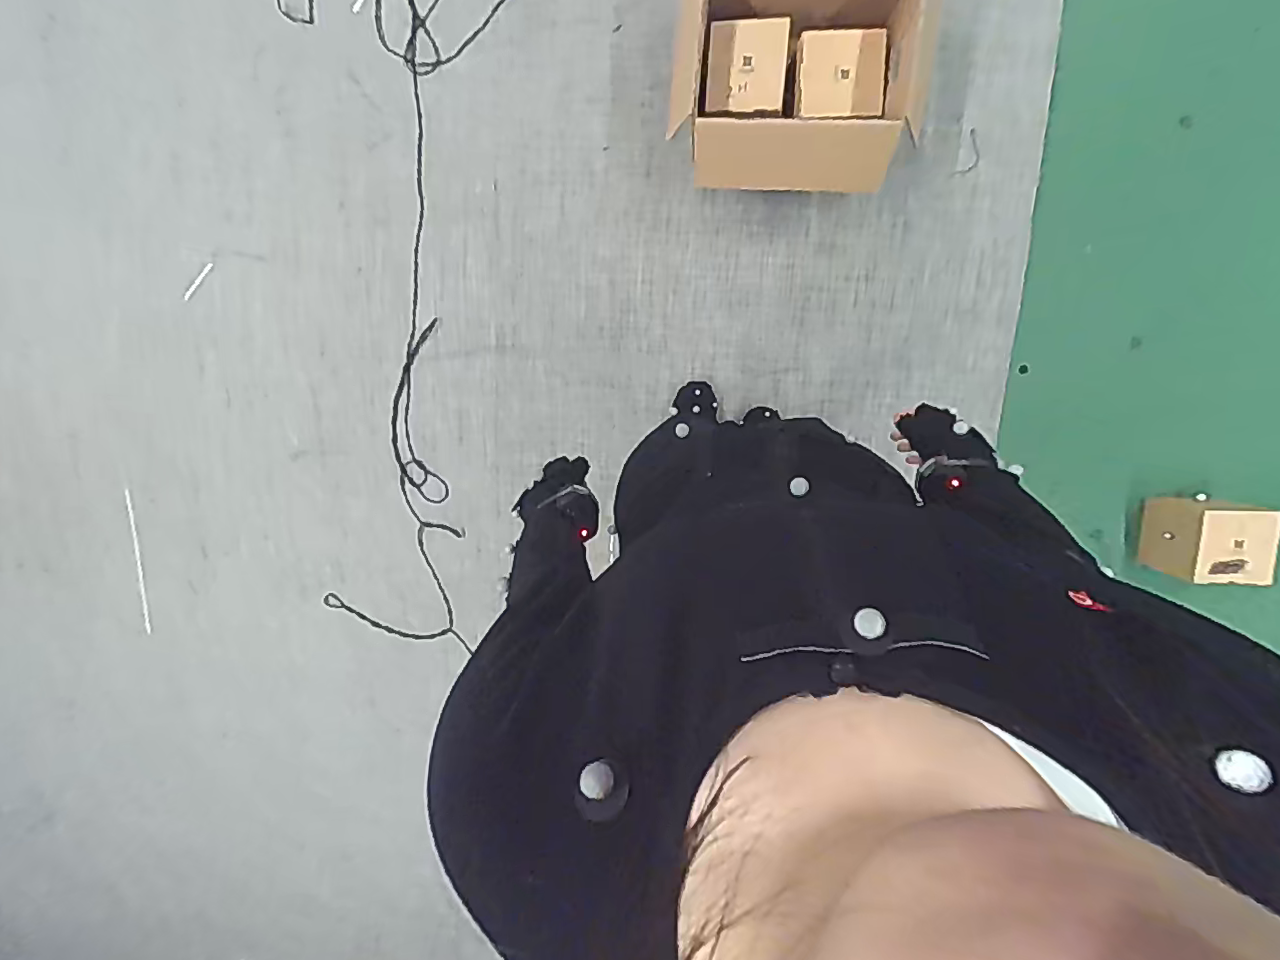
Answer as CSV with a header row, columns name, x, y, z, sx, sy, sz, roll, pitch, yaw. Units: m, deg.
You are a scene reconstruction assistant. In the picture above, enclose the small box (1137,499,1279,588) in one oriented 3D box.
name,x,y,z,sx,sy,sz,roll,pitch,yaw
small box,1.361,0.148,1.307,0.168,0.176,0.179,1,99,5
